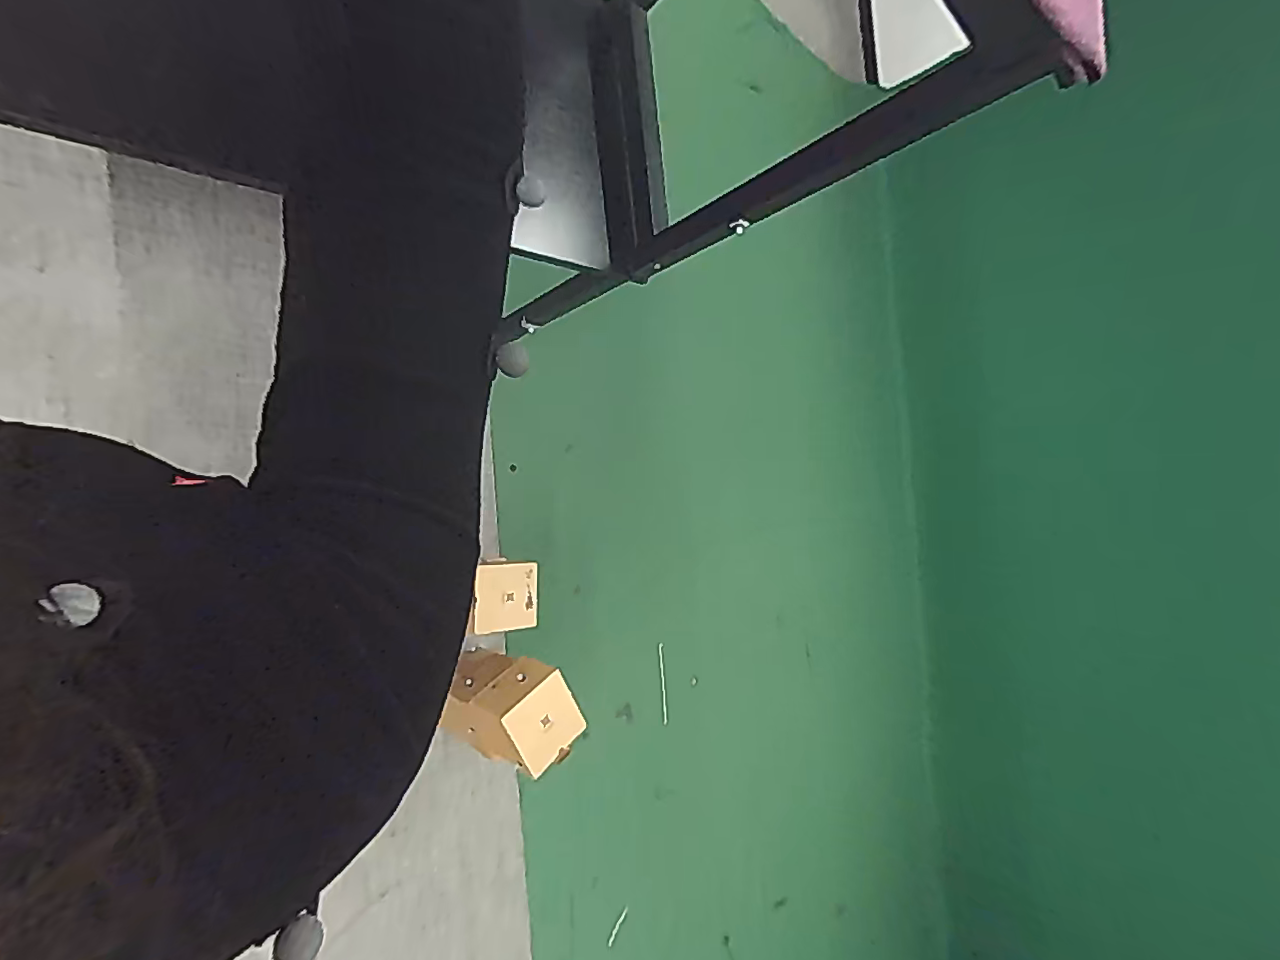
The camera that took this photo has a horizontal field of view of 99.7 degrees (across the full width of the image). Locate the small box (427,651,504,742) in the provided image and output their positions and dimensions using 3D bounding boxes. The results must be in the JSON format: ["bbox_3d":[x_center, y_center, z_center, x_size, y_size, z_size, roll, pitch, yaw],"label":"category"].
[{"bbox_3d":[-0.476,0.591,1.509,0.168,0.176,0.179,-13,96,-41],"label":"small box"}]

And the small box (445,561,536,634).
[{"bbox_3d":[-0.387,0.296,1.392,0.179,0.176,0.168,5,82,-42],"label":"small box"}]

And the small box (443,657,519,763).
[{"bbox_3d":[-0.376,0.574,1.382,0.168,0.176,0.179,-29,107,-38],"label":"small box"}]

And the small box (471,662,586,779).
[{"bbox_3d":[-0.265,0.549,1.264,0.168,0.176,0.179,-35,110,-37],"label":"small box"}]
